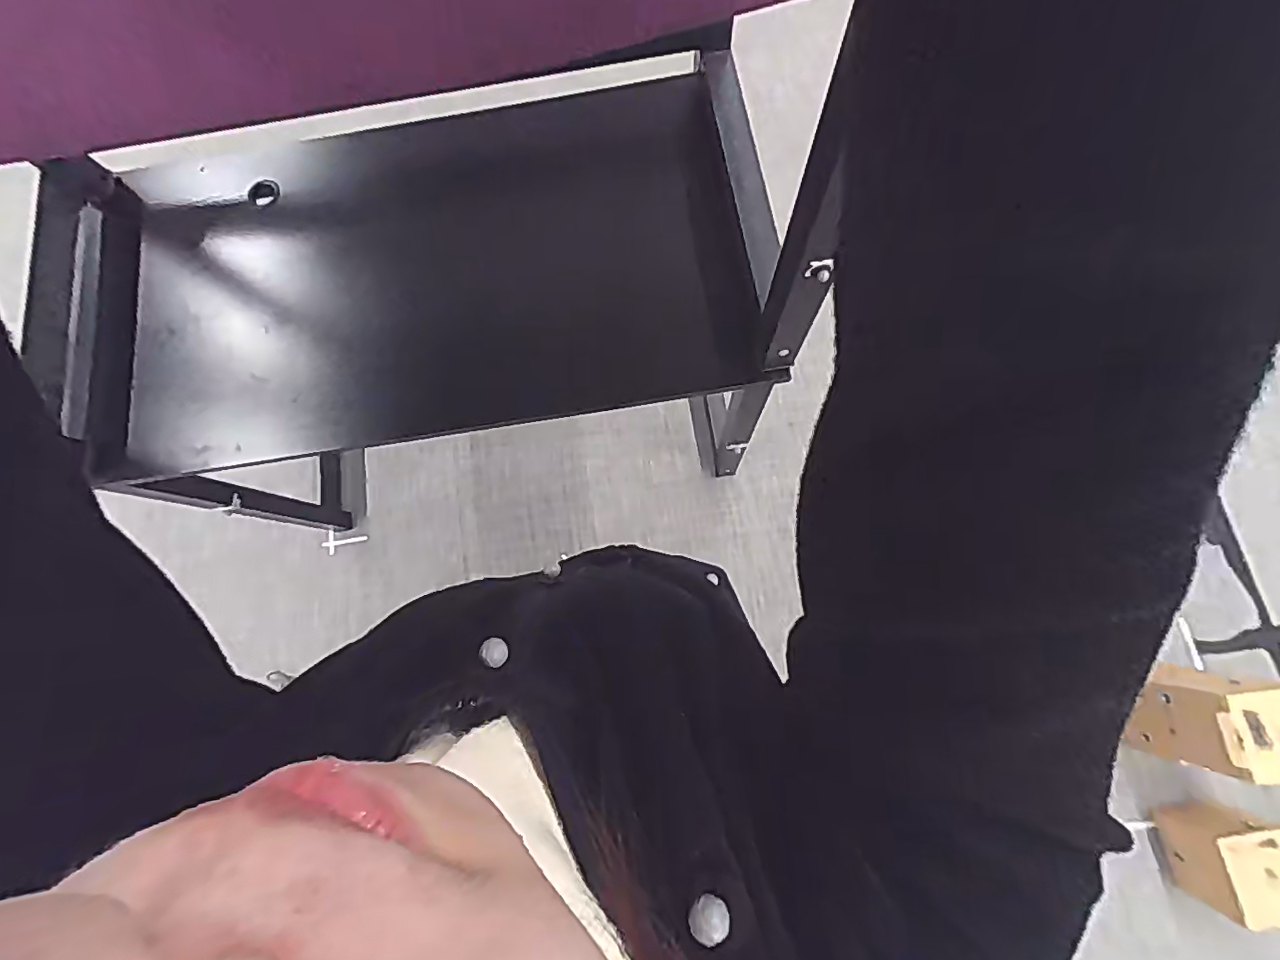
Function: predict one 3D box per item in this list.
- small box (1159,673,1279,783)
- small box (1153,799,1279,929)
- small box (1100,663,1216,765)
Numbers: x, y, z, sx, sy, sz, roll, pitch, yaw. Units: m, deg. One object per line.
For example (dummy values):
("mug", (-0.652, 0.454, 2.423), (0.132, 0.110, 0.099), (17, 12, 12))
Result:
("small box", (1.240, 0.505, 1.120), (0.179, 0.176, 0.168), (-8, 79, 1))
("small box", (1.324, 0.850, 1.212), (0.168, 0.176, 0.179), (-10, 79, 1))
("small box", (1.254, 0.546, 1.279), (0.168, 0.176, 0.179), (-10, 78, 1))
